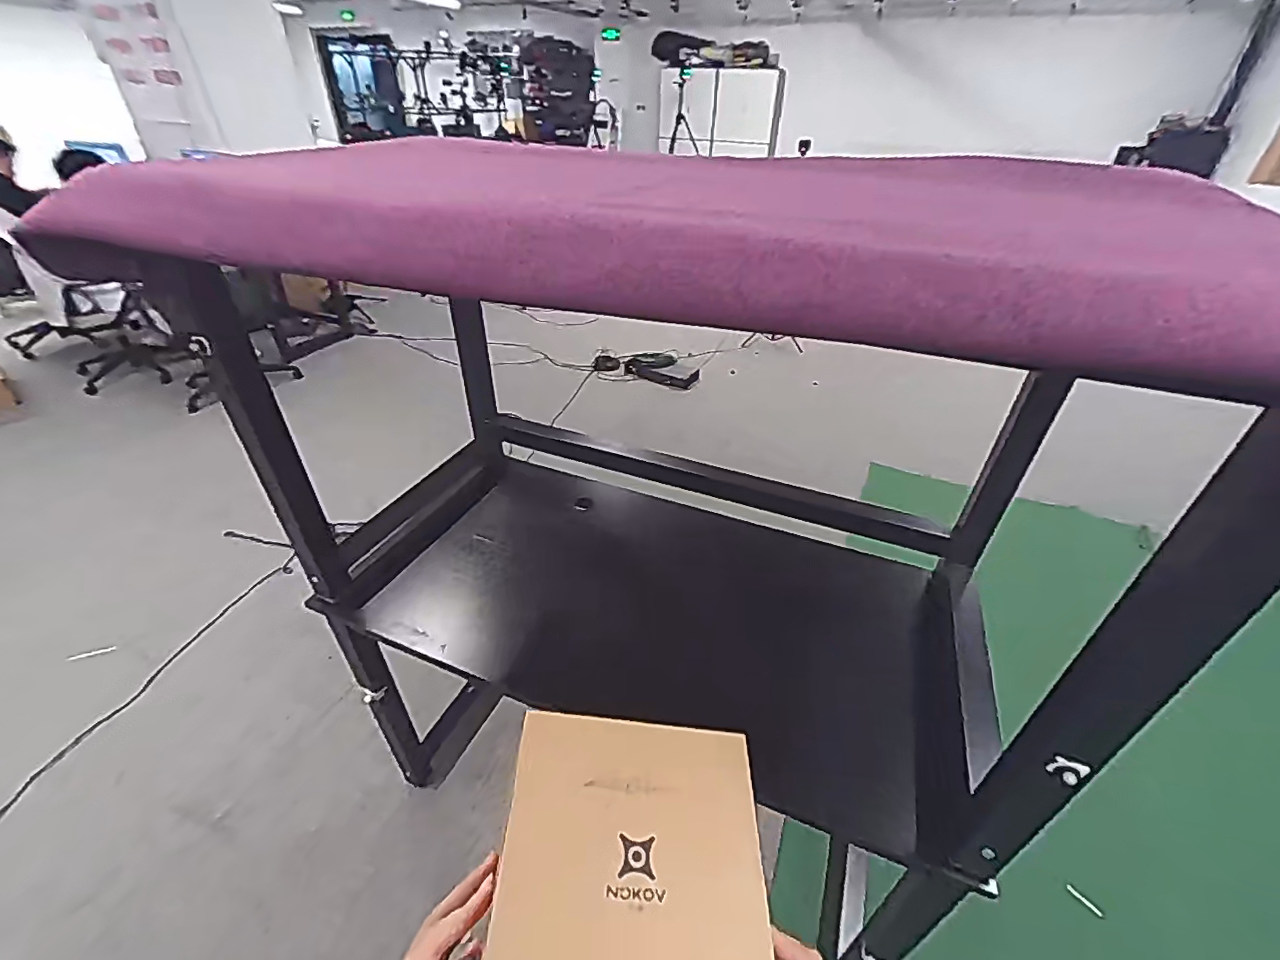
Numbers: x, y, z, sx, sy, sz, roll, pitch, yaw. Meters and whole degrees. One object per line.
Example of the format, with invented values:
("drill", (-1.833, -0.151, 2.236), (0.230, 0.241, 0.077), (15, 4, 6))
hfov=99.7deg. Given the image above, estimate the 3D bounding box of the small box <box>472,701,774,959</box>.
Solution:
("small box", (-0.021, 0.284, 0.374), (0.168, 0.176, 0.179), (12, 40, -8))
